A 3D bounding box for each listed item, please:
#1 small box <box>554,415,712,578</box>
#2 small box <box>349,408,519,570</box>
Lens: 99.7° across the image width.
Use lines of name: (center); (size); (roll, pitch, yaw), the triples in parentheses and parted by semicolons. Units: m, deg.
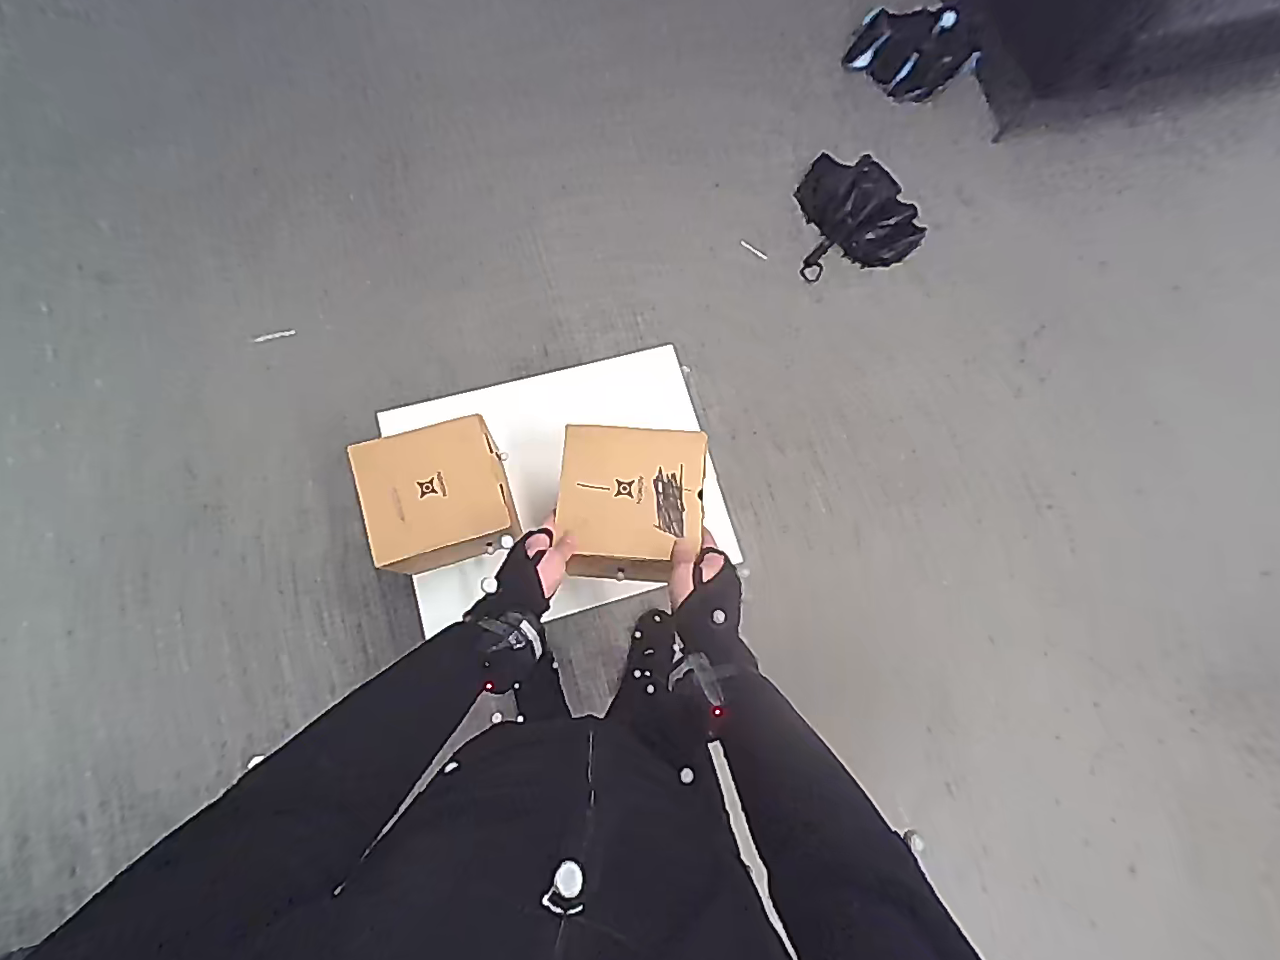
small box: (-0.007, 0.031, 0.709); (0.179, 0.176, 0.168); (4, 70, 0)
small box: (-0.274, 0.020, 0.760); (0.179, 0.176, 0.168); (-16, 78, -11)
